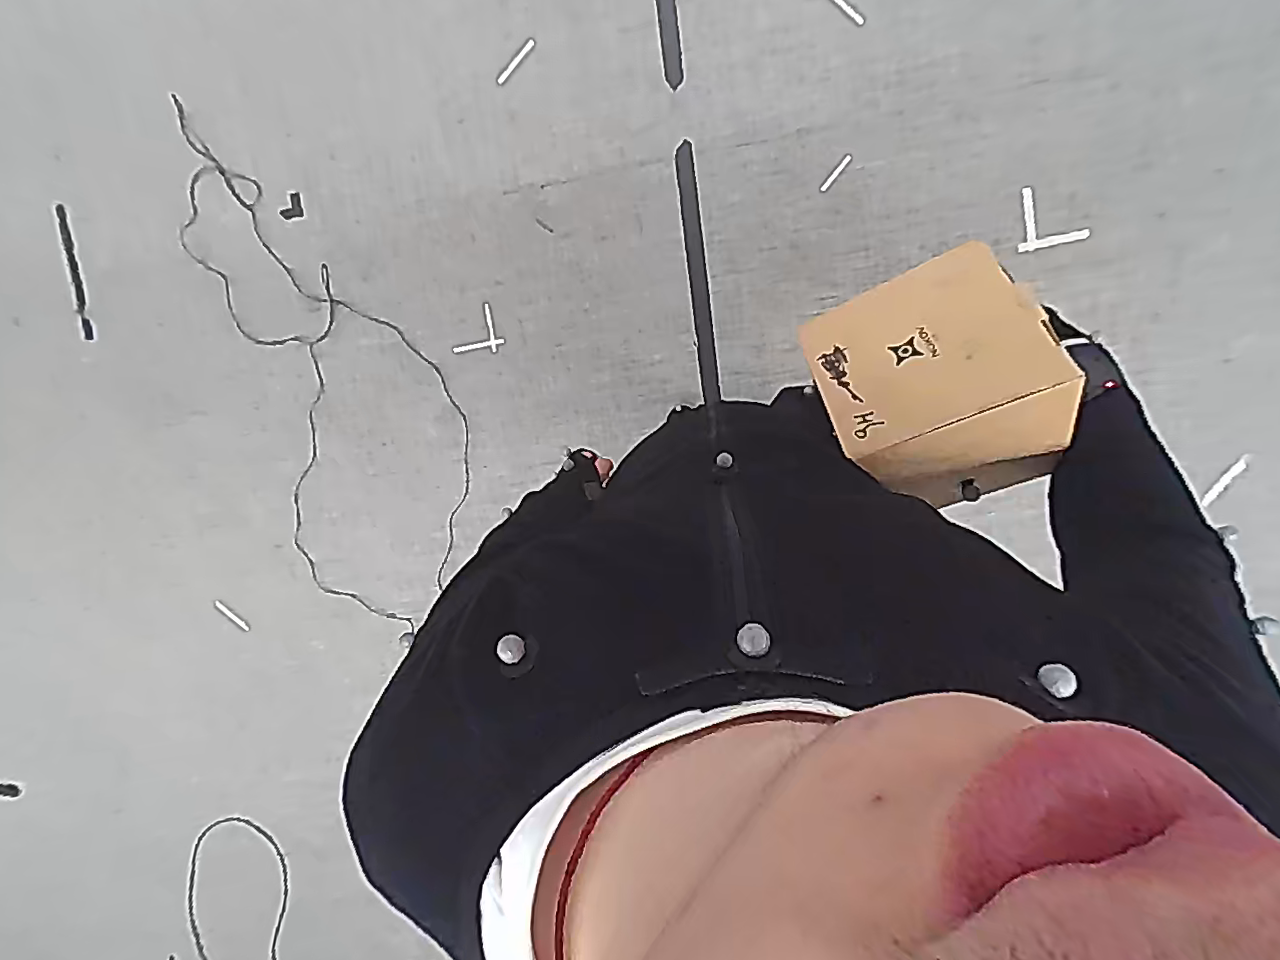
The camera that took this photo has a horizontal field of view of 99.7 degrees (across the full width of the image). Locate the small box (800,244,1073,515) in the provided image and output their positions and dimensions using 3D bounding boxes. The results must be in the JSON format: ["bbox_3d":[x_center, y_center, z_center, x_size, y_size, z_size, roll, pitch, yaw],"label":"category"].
[{"bbox_3d":[0.286,-0.086,0.544,0.179,0.176,0.168,-23,55,22],"label":"small box"}]
